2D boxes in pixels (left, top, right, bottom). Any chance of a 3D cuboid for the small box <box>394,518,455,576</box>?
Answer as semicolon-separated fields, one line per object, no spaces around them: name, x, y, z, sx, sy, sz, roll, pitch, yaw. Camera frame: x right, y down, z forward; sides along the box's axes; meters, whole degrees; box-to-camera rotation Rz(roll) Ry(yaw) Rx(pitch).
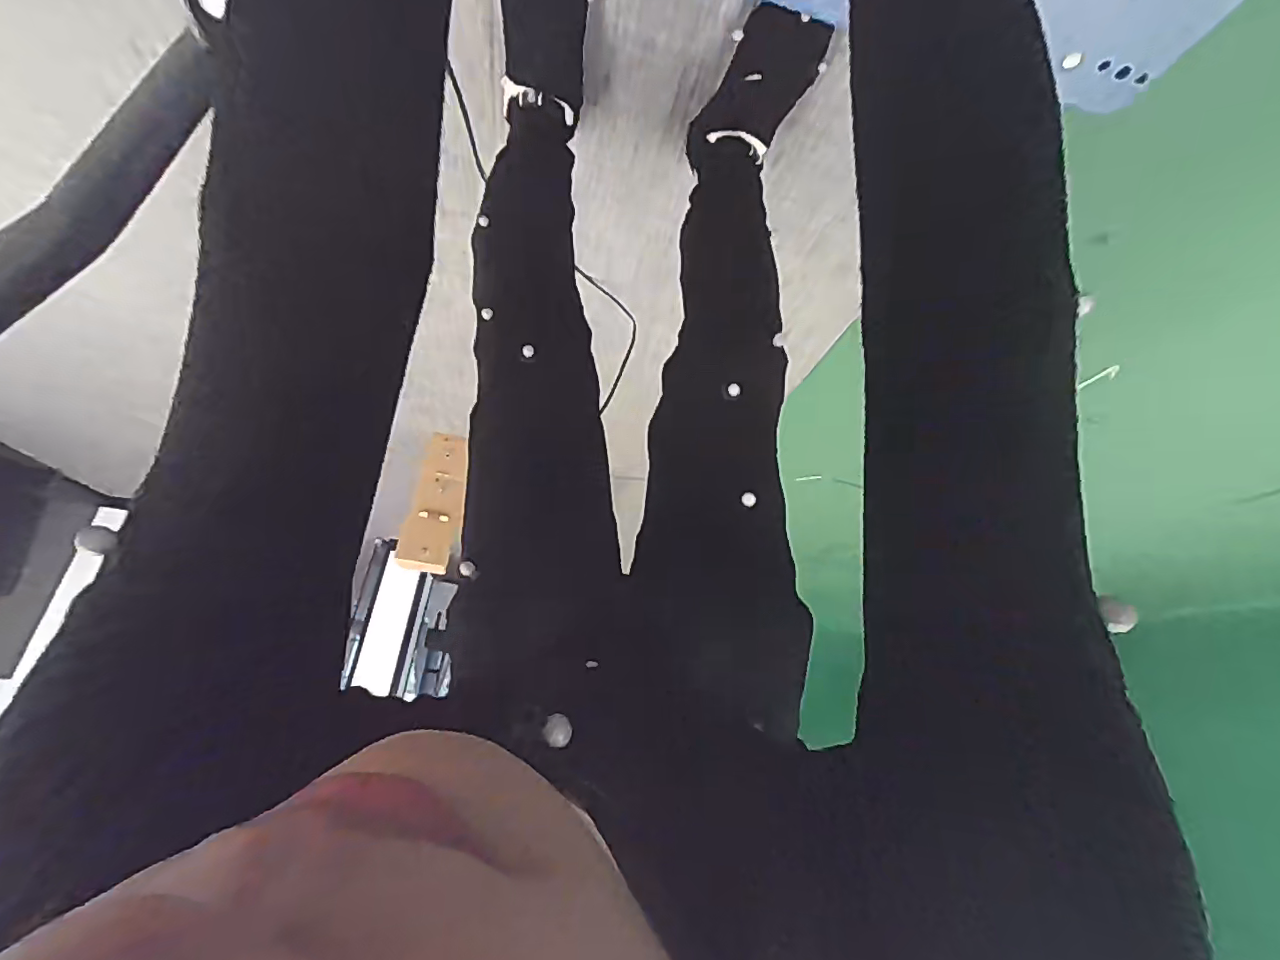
small box;-0.793;0.248;2.001;0.179;0.176;0.168;14;156;-15

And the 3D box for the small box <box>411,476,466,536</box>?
small box;-0.768;0.100;2.066;0.168;0.176;0.179;13;156;-16

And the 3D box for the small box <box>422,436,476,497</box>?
small box;-0.747;-0.054;2.121;0.168;0.176;0.179;12;156;-12
